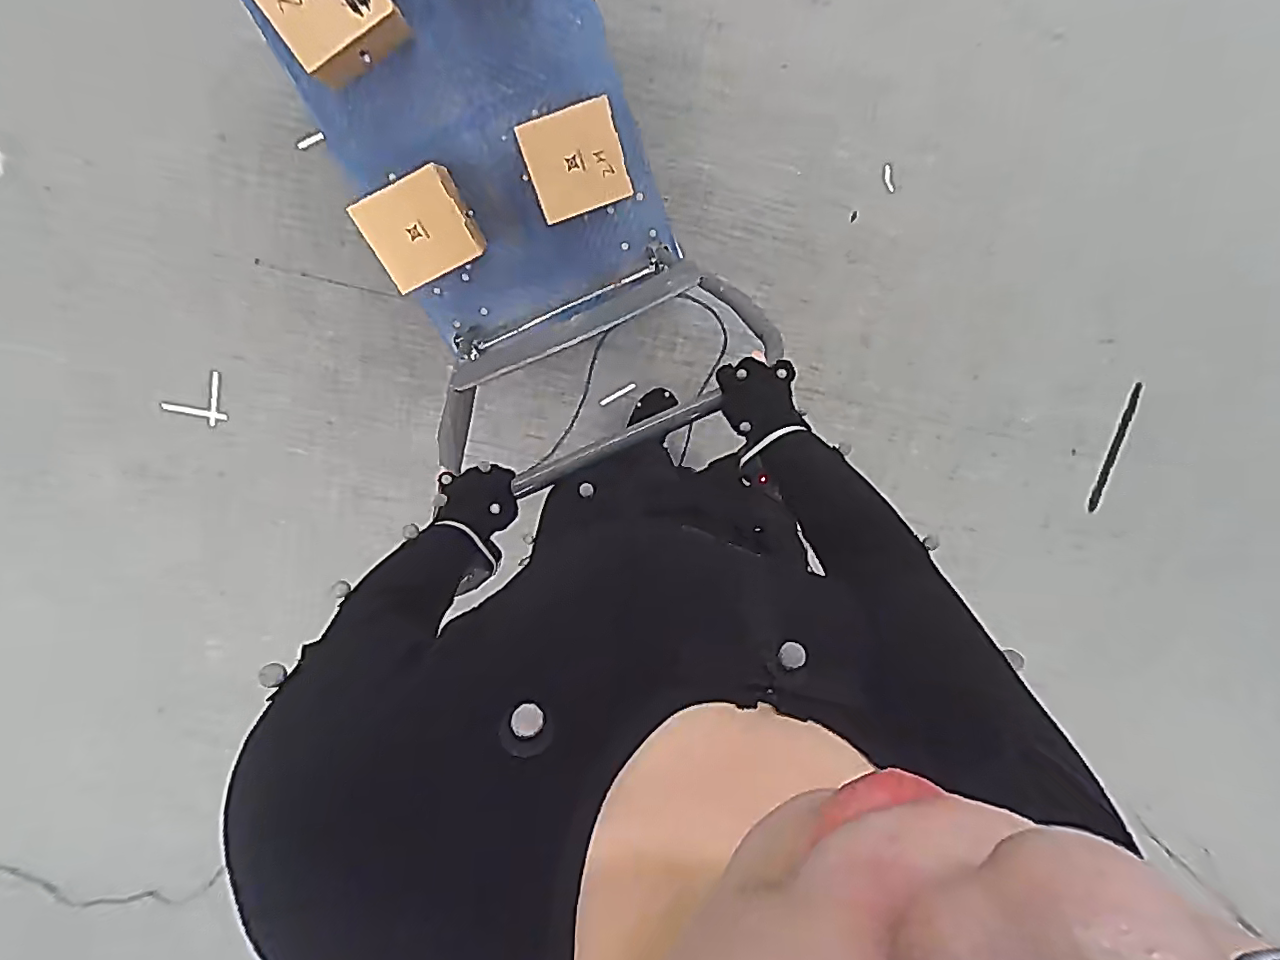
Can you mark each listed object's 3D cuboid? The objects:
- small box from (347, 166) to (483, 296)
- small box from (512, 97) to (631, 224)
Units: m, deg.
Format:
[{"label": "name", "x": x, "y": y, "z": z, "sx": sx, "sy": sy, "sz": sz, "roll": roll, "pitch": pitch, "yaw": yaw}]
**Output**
[{"label": "small box", "x": -0.425, "y": -0.484, "z": 1.056, "sx": 0.179, "sy": 0.176, "sz": 0.168, "roll": -28, "pitch": 119, "yaw": 1}, {"label": "small box", "x": -0.133, "y": -0.611, "z": 1.051, "sx": 0.179, "sy": 0.176, "sz": 0.168, "roll": -21, "pitch": 120, "yaw": -1}]
